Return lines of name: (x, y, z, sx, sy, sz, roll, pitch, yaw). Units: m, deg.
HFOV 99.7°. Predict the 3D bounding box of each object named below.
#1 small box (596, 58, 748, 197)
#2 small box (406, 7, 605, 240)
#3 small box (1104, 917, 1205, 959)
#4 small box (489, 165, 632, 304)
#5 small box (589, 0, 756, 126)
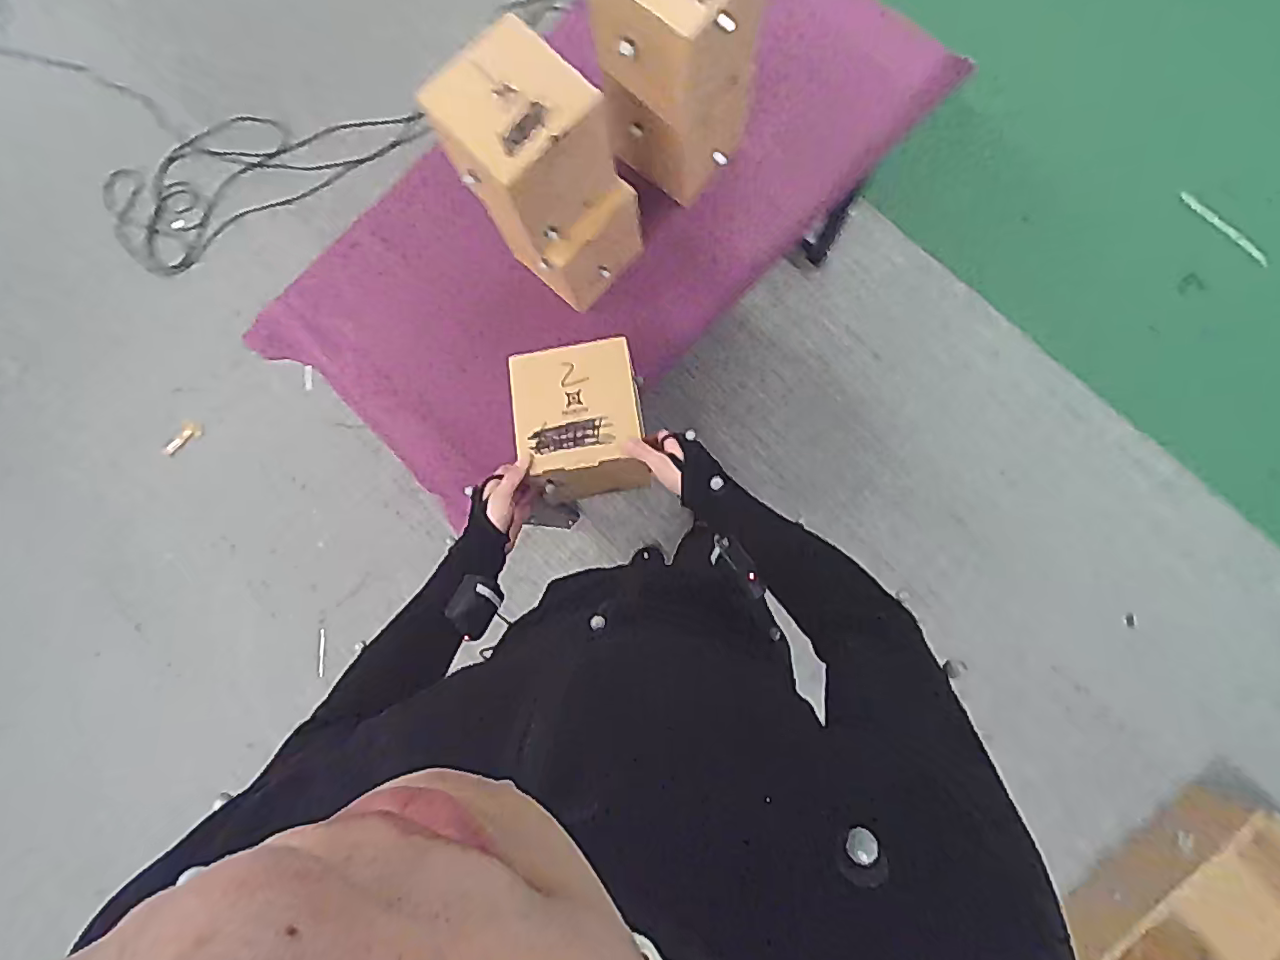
small box: (0.051, -0.621, 0.903, 0.179, 0.176, 0.168, 40, 87, 7)
small box: (-0.166, -0.461, 0.735, 0.168, 0.176, 0.179, -44, 83, -2)
small box: (1.299, 1.225, 1.304, 0.168, 0.176, 0.179, -41, 83, -3)
small box: (-0.130, -0.427, 0.894, 0.179, 0.176, 0.168, 41, 87, 6)
small box: (0.042, -0.640, 0.740, 0.179, 0.176, 0.168, 39, 87, 7)
